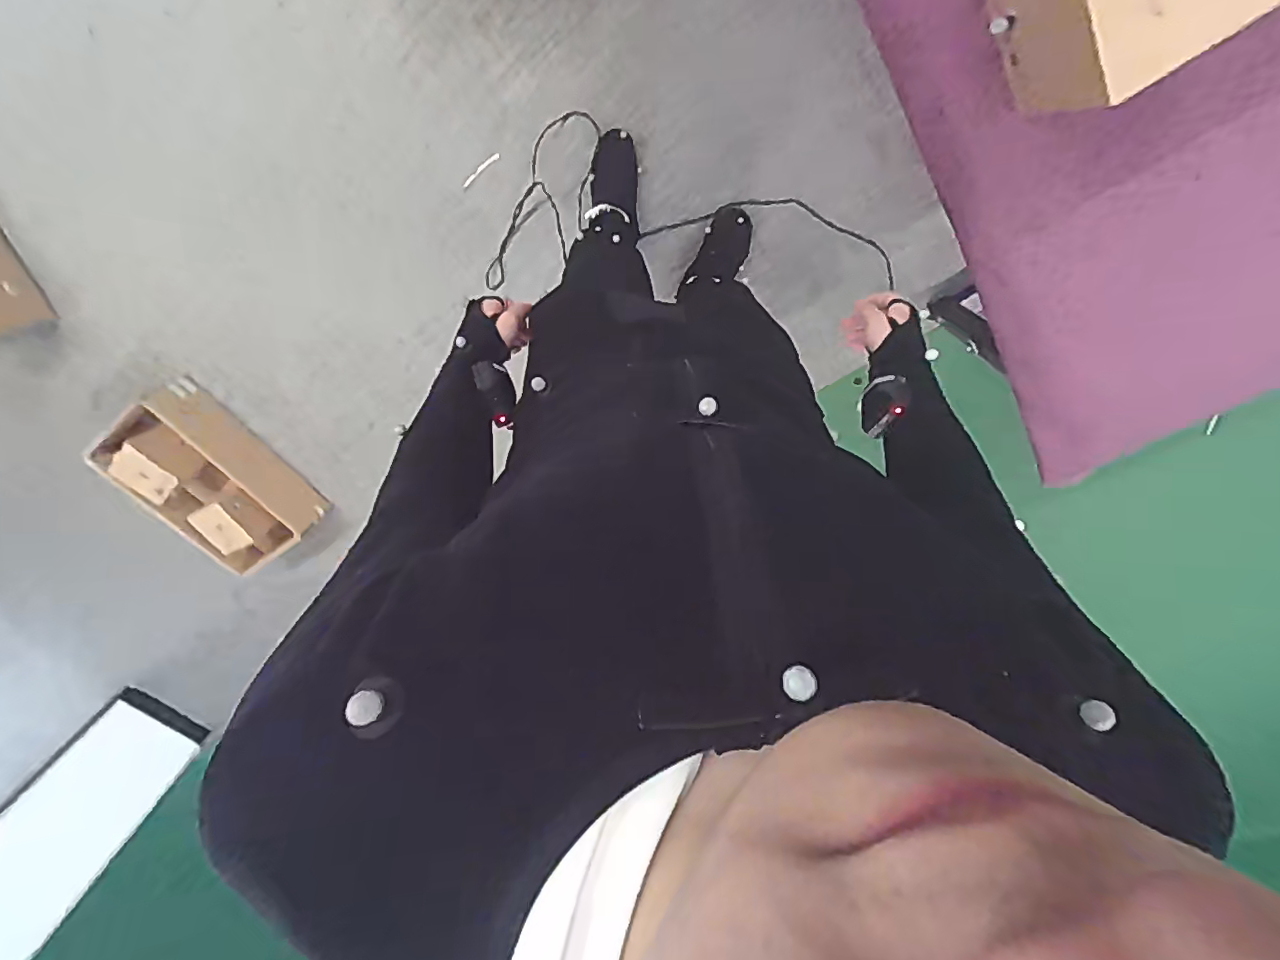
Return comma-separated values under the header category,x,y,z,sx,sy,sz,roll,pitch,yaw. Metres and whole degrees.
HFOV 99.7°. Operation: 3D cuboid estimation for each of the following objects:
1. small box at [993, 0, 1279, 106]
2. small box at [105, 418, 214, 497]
category,x,y,z,sx,sy,sz,roll,pitch,yaw
small box,0.455,-0.473,0.482,0.179,0.176,0.168,-28,115,21
small box,-1.582,-0.084,1.789,0.168,0.176,0.179,-33,114,23
